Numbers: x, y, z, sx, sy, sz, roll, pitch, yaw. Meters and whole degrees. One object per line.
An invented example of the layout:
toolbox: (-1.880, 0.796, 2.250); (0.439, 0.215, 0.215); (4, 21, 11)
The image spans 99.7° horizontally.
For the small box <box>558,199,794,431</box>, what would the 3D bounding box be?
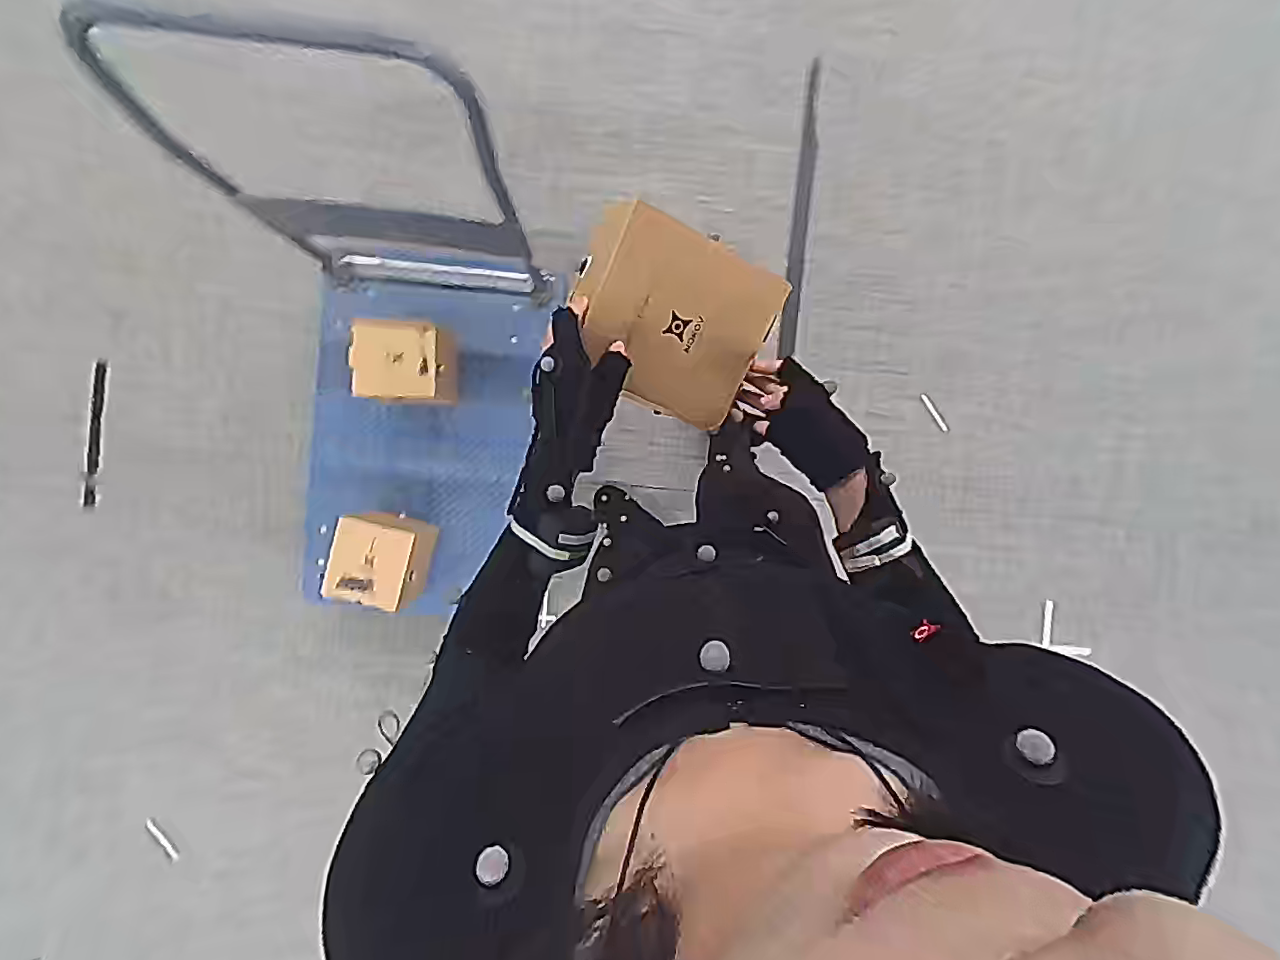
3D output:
small box: (0.025, -0.177, 0.586); (0.179, 0.176, 0.168); (20, 106, -20)

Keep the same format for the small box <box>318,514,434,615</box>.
small box: (-0.591, 0.184, 1.234); (0.168, 0.176, 0.179); (15, 90, -3)

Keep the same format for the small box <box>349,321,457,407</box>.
small box: (-0.530, -0.256, 1.226); (0.179, 0.176, 0.168); (1, 92, -1)
